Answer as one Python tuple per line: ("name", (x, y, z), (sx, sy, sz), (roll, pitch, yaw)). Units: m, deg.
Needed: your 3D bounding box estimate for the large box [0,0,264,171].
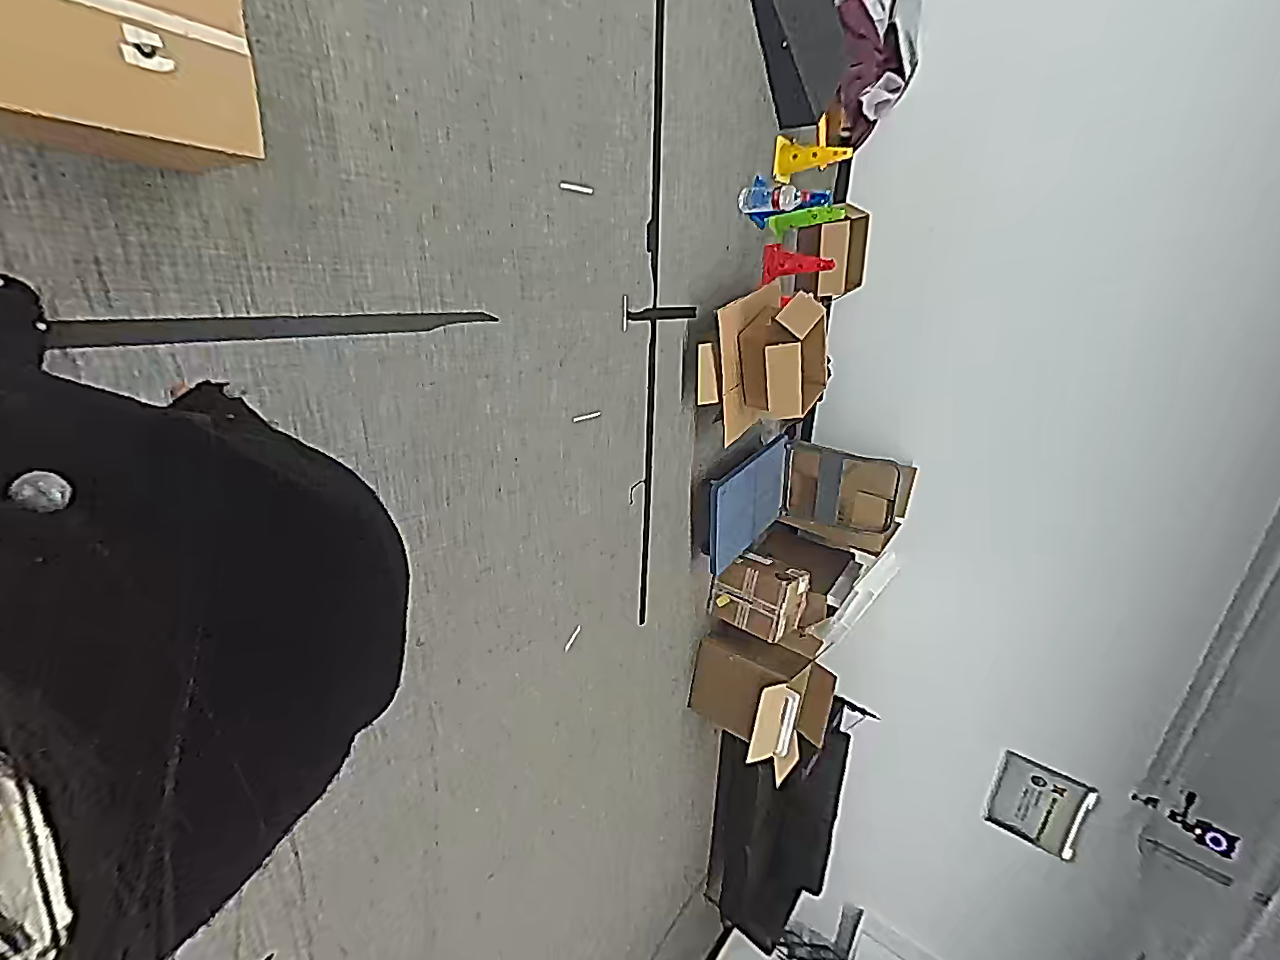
("large box", (-0.871, -0.682, 0.803), (0.408, 0.320, 0.320), (-20, 120, -50))
